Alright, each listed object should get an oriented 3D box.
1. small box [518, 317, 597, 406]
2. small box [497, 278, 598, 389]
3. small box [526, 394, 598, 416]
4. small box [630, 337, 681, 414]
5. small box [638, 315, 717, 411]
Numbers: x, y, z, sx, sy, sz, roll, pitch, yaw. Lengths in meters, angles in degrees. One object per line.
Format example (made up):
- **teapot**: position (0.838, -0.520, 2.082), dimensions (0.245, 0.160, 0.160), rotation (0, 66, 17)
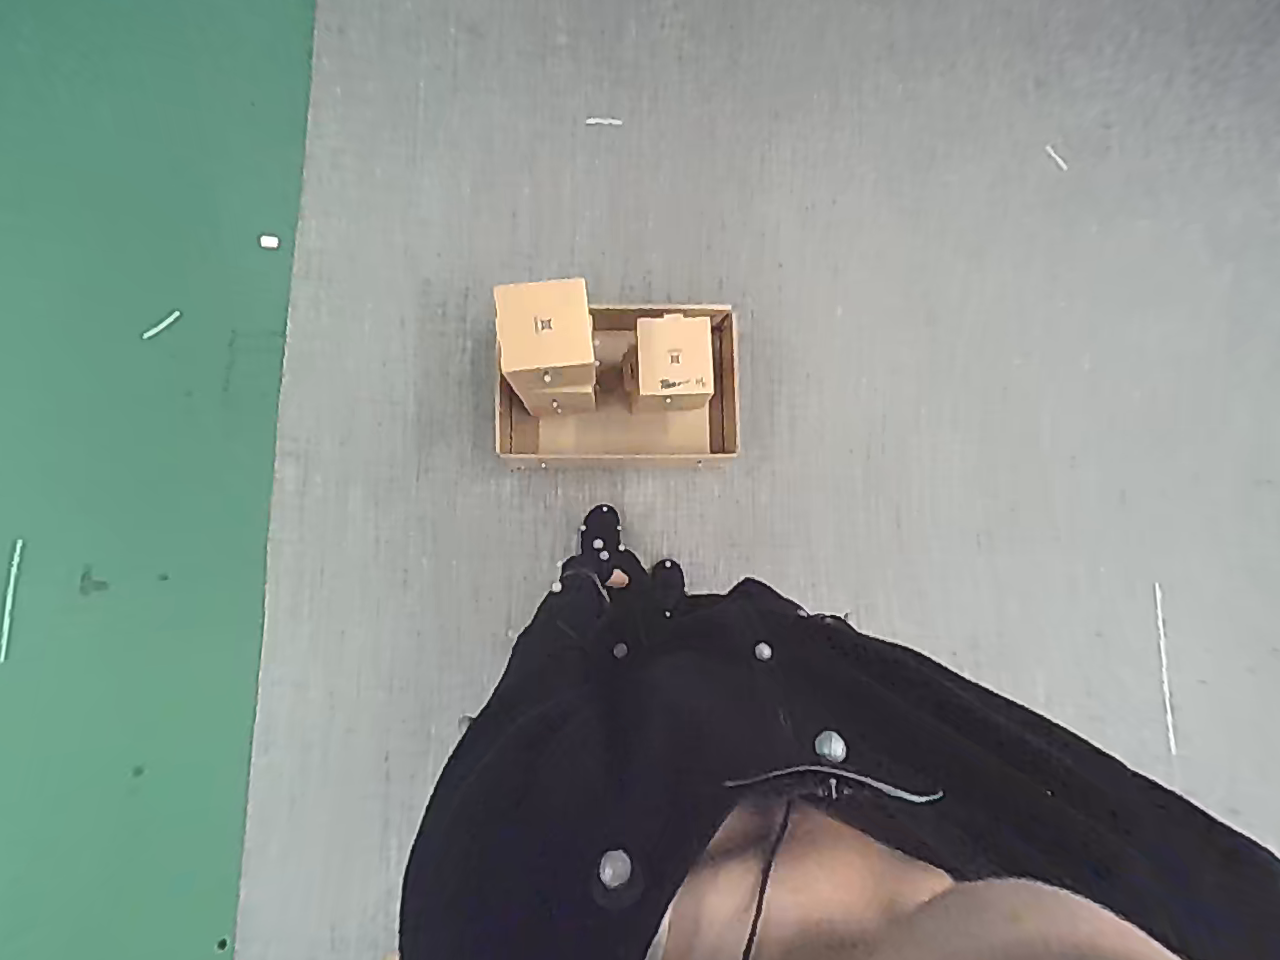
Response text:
- **small box**: position (-0.184, -0.272, 1.252), dimensions (0.168, 0.176, 0.179), rotation (1, 86, -4)
- **small box**: position (-0.178, -0.288, 1.090), dimensions (0.179, 0.176, 0.168), rotation (-7, 87, -3)
- **small box**: position (-0.202, -0.266, 1.415), dimensions (0.179, 0.176, 0.168), rotation (-4, 86, -5)
- **small box**: position (0.069, -0.276, 1.427), dimensions (0.179, 0.176, 0.168), rotation (-6, 85, -3)
- **small box**: position (0.082, -0.268, 1.262), dimensions (0.168, 0.176, 0.179), rotation (-2, 84, -2)
